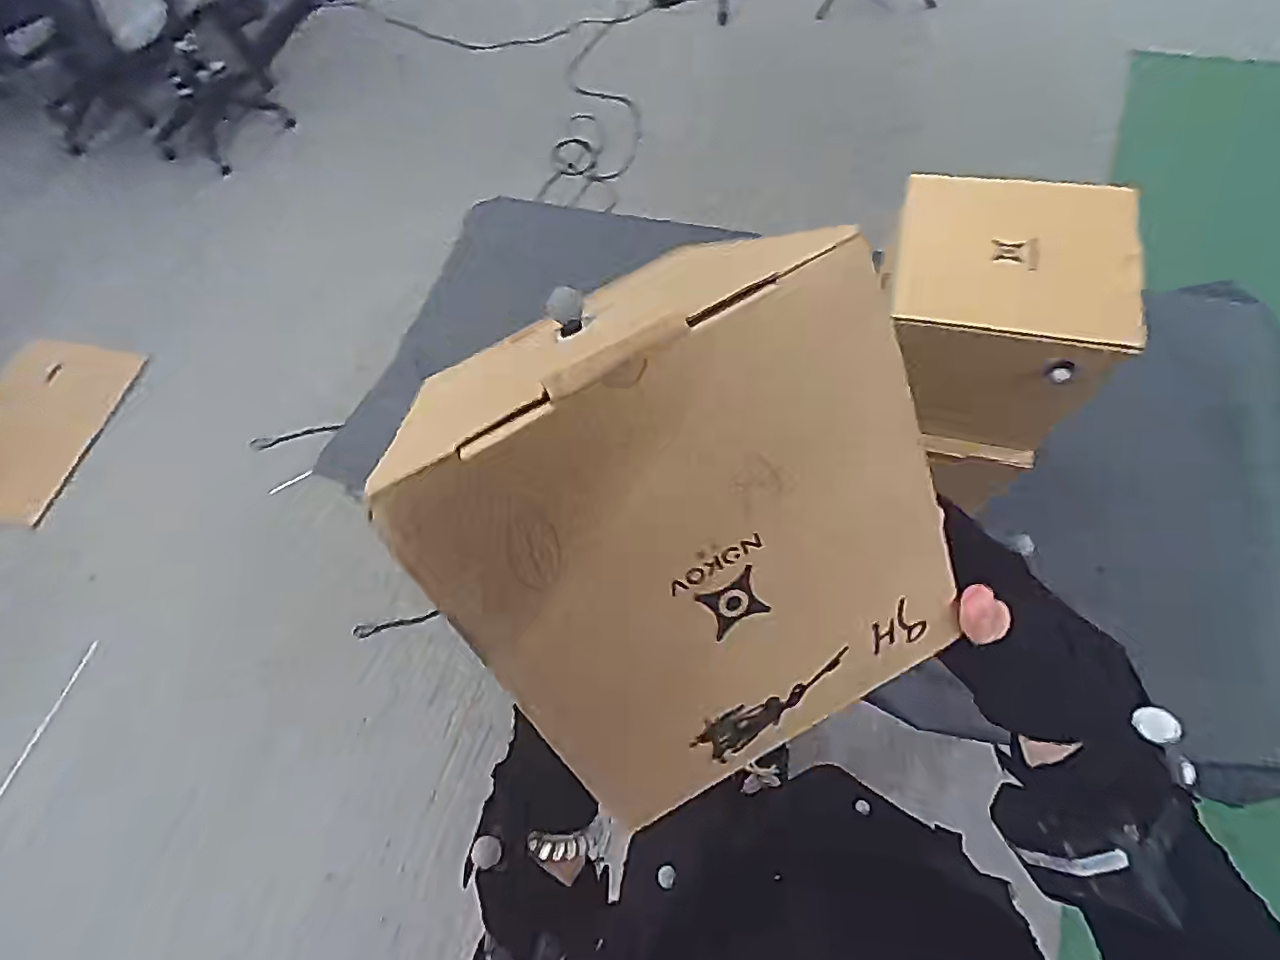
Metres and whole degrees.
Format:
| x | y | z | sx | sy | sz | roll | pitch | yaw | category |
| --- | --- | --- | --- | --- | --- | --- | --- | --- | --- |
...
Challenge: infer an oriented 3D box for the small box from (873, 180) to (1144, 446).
| x | y | z | sx | sy | sz | roll | pitch | yaw | category |
| --- | --- | --- | --- | --- | --- | --- | --- | --- | --- |
| 0.317 | -0.150 | 0.513 | 0.179 | 0.176 | 0.168 | 12 | 69 | 13 | small box |

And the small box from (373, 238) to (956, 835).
| x | y | z | sx | sy | sz | roll | pitch | yaw | category |
| --- | --- | --- | --- | --- | --- | --- | --- | --- | --- |
| 0.008 | 0.010 | 0.264 | 0.168 | 0.179 | 0.176 | -28 | 23 | -4 | small box |
